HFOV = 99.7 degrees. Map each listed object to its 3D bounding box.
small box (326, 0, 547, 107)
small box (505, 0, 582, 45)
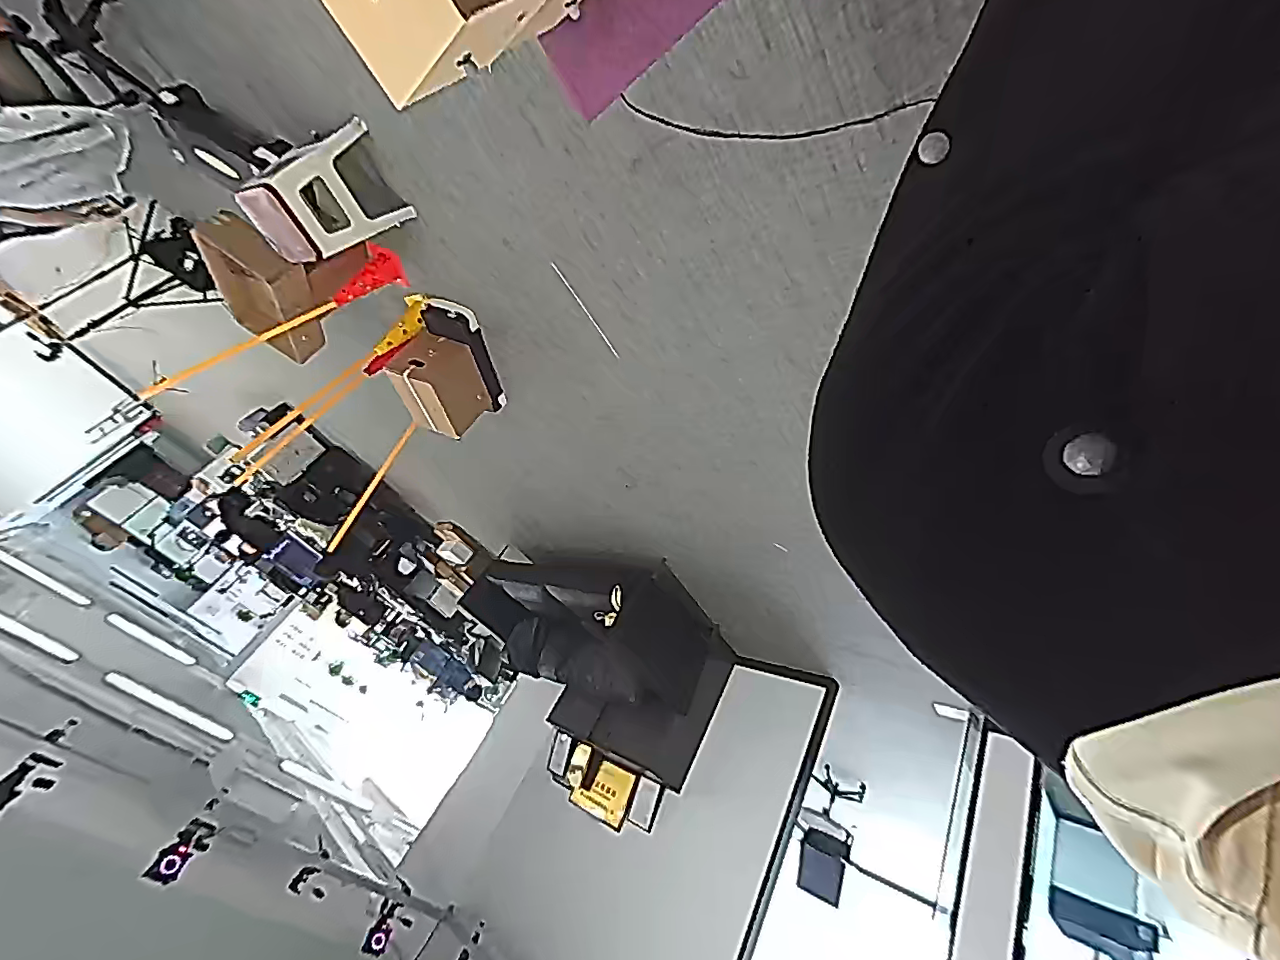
[{"bbox_3d":[-0.217,-0.541,0.557,0.168,0.176,0.179,-1,133,46],"label":"small box"},{"bbox_3d":[-0.145,-0.661,0.638,0.168,0.176,0.179,-2,134,46],"label":"small box"}]
